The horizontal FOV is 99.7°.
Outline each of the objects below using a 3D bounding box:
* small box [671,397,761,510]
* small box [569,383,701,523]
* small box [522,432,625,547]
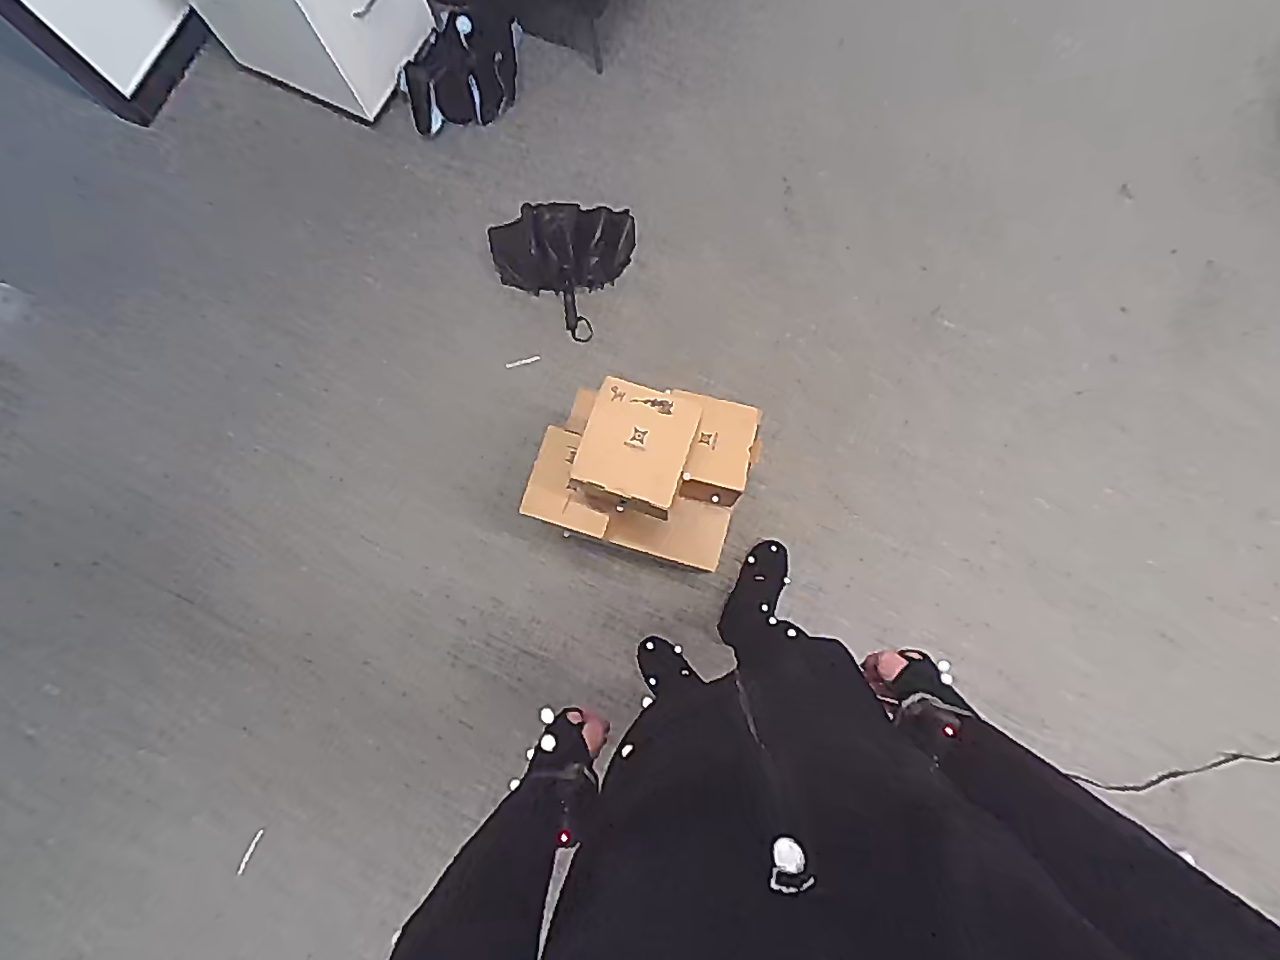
[{"bbox_3d":[0.128,-0.044,1.082,0.179,0.176,0.168,13,77,6],"label":"small box"},{"bbox_3d":[-0.001,-0.036,0.916,0.168,0.176,0.179,19,82,6],"label":"small box"},{"bbox_3d":[-0.113,0.026,1.078,0.168,0.176,0.179,17,83,6],"label":"small box"}]
